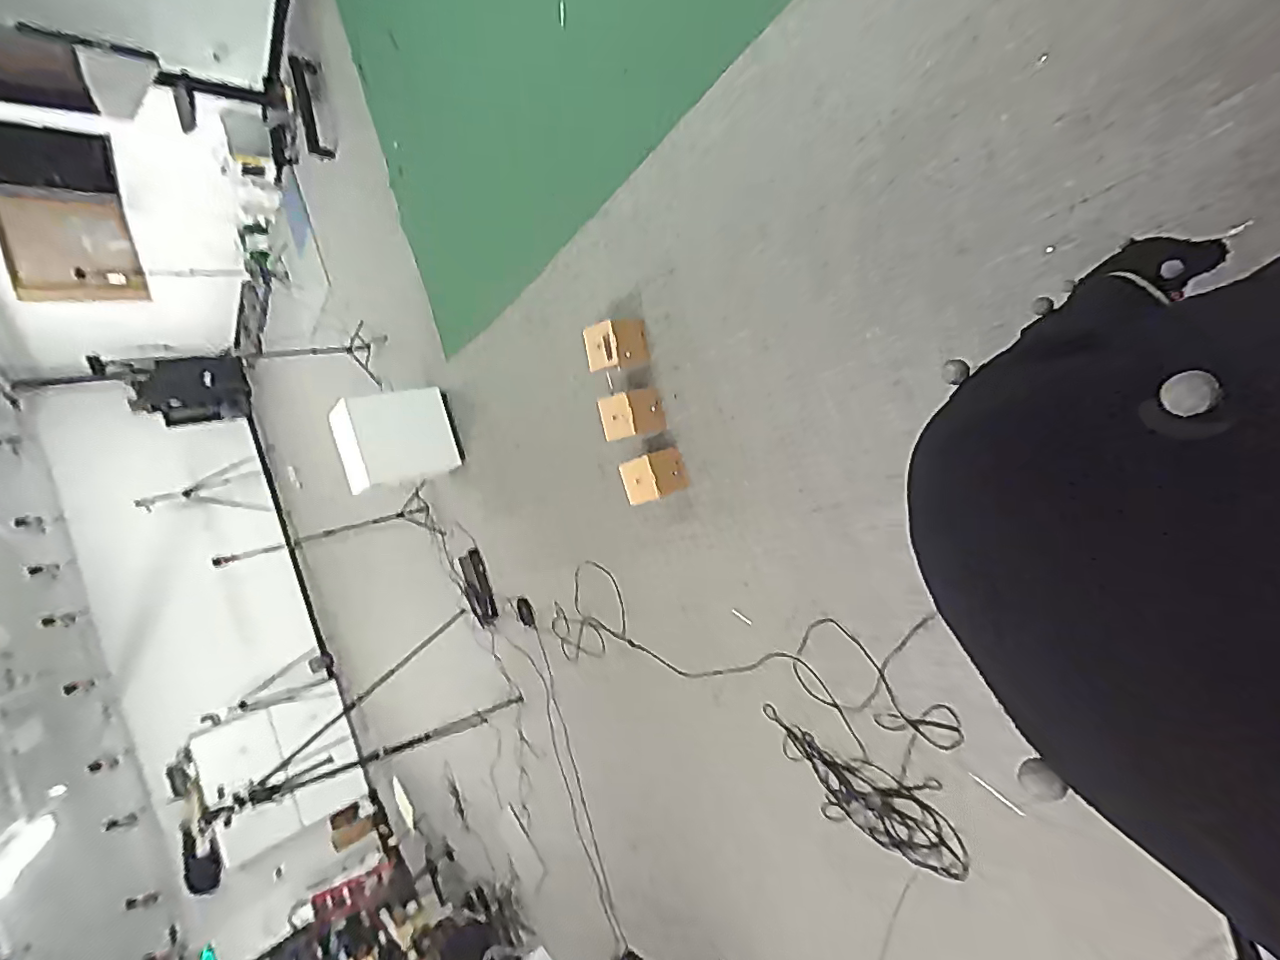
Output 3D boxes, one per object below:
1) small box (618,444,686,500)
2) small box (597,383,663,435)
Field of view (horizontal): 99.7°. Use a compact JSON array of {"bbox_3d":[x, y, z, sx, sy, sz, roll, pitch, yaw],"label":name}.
[{"bbox_3d":[0.048,-0.032,2.087,0.179,0.176,0.168,-19,89,48],"label":"small box"},{"bbox_3d":[-0.037,-0.274,2.097,0.179,0.176,0.168,-7,98,47],"label":"small box"}]
